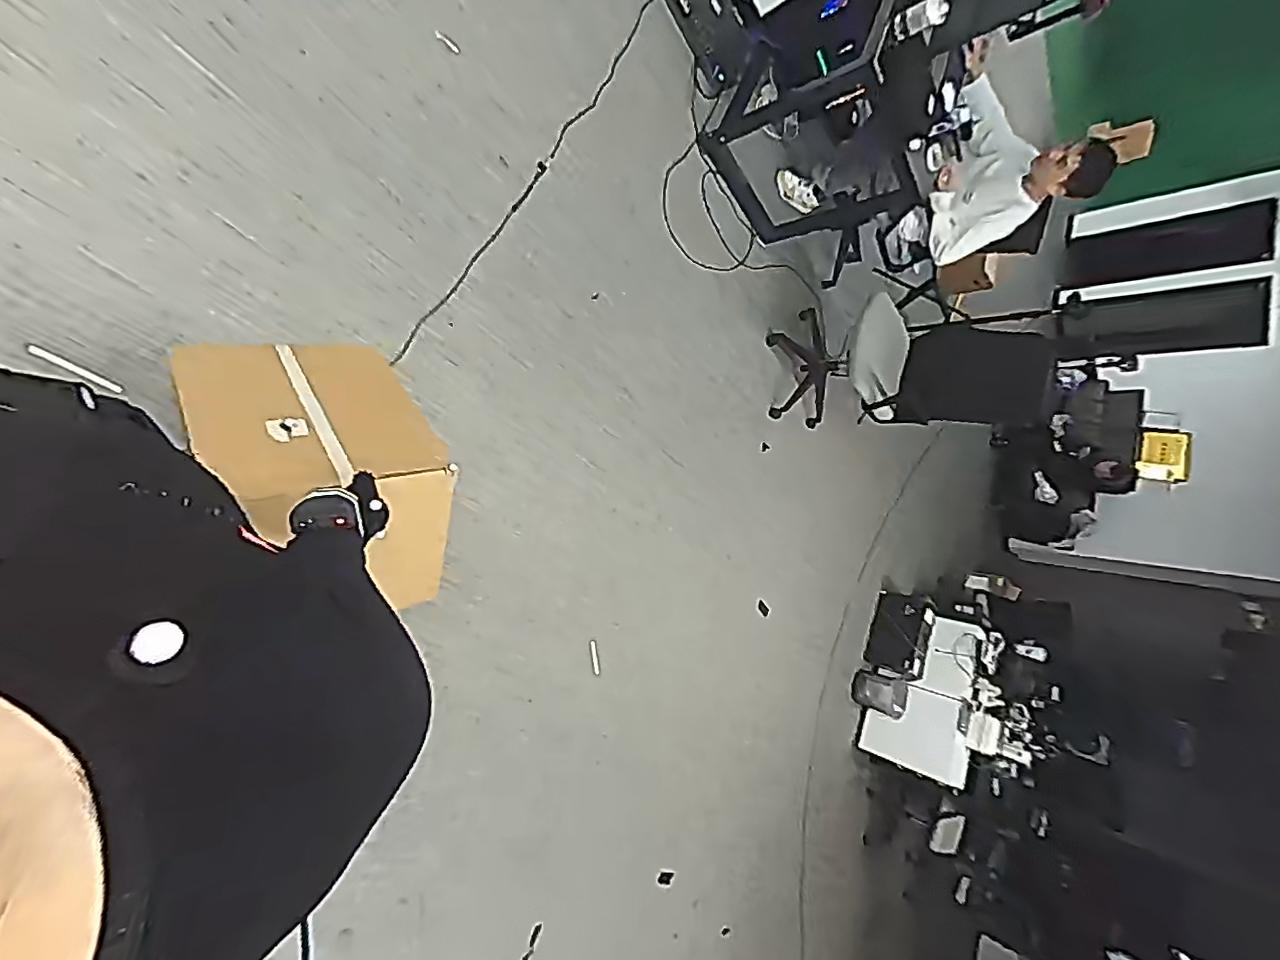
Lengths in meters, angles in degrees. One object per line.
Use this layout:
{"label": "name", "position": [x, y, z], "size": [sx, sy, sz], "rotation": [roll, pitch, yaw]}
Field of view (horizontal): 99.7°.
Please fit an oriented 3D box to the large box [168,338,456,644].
{"label": "large box", "position": [-0.565, -0.006, 0.935], "size": [0.320, 0.408, 0.320], "rotation": [-13, 139, -39]}
